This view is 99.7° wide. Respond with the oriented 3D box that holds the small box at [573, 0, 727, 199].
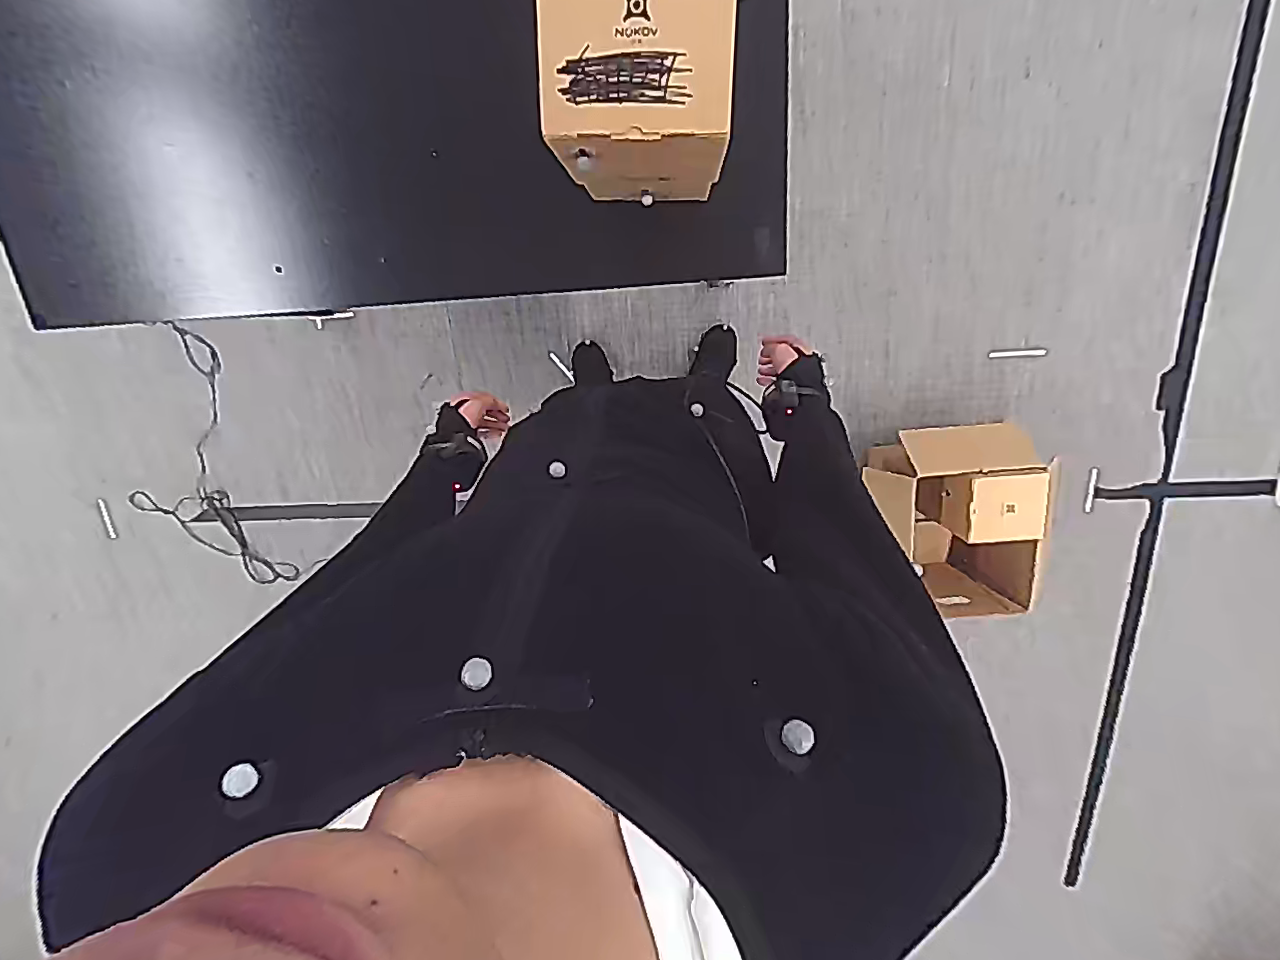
[{"bbox_3d":[0.012,-0.462,0.666,0.168,0.176,0.179,2,107,3],"label":"small box"}]
